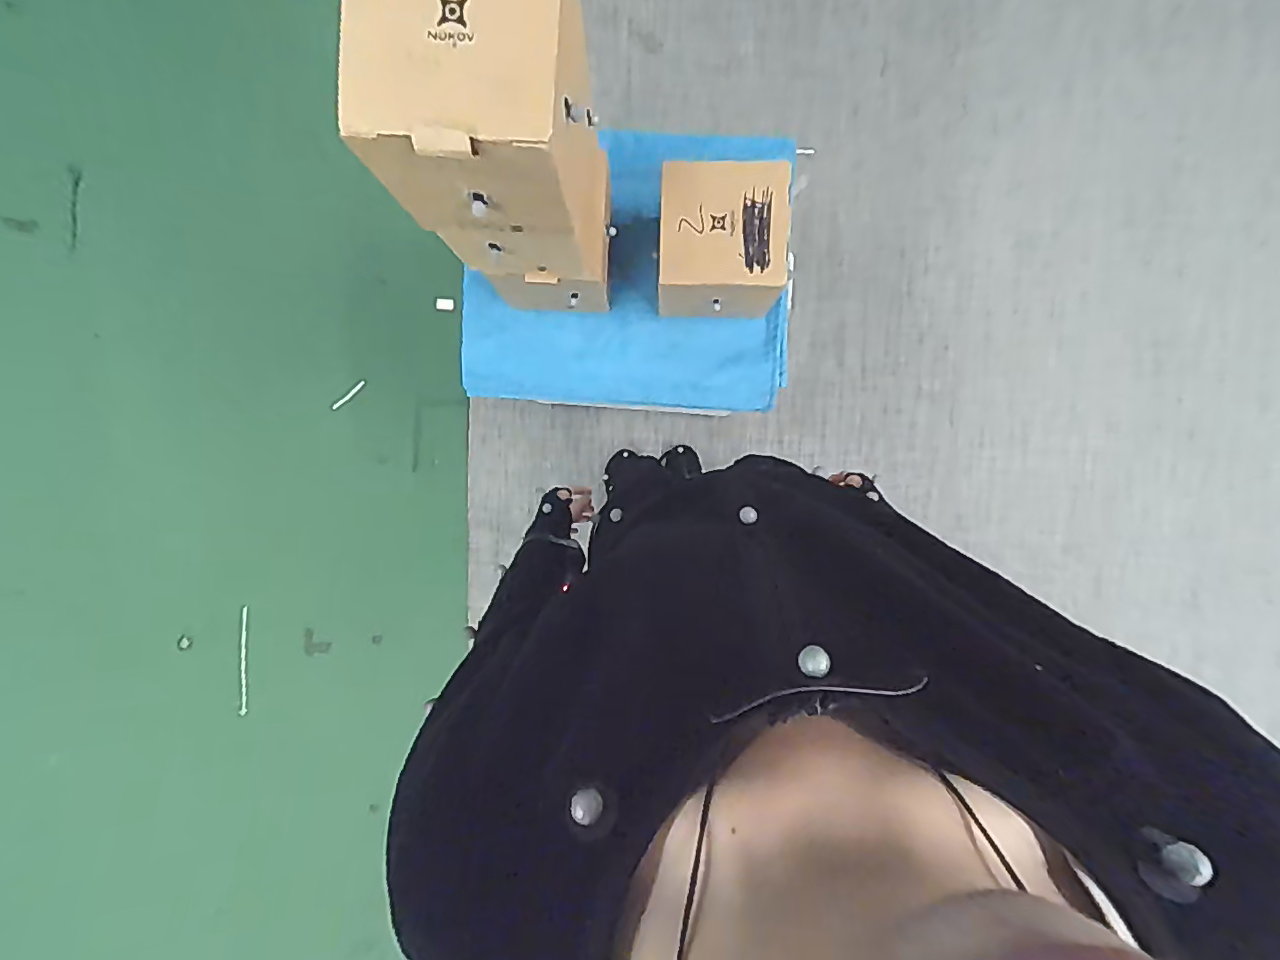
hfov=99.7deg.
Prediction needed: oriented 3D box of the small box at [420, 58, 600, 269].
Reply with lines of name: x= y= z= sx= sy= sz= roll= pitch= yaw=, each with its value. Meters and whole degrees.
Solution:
small box: x=-0.141 y=-0.367 z=0.640 sx=0.168 sy=0.176 sz=0.179 roll=5 pitch=91 yaw=1

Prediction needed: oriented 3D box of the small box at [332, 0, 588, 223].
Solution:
small box: x=-0.140 y=-0.350 z=0.477 sx=0.168 sy=0.176 sz=0.179 roll=5 pitch=92 yaw=0

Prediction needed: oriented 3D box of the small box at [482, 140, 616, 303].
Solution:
small box: x=-0.125 y=-0.373 z=0.802 sx=0.168 sy=0.176 sz=0.179 roll=4 pitch=92 yaw=0
